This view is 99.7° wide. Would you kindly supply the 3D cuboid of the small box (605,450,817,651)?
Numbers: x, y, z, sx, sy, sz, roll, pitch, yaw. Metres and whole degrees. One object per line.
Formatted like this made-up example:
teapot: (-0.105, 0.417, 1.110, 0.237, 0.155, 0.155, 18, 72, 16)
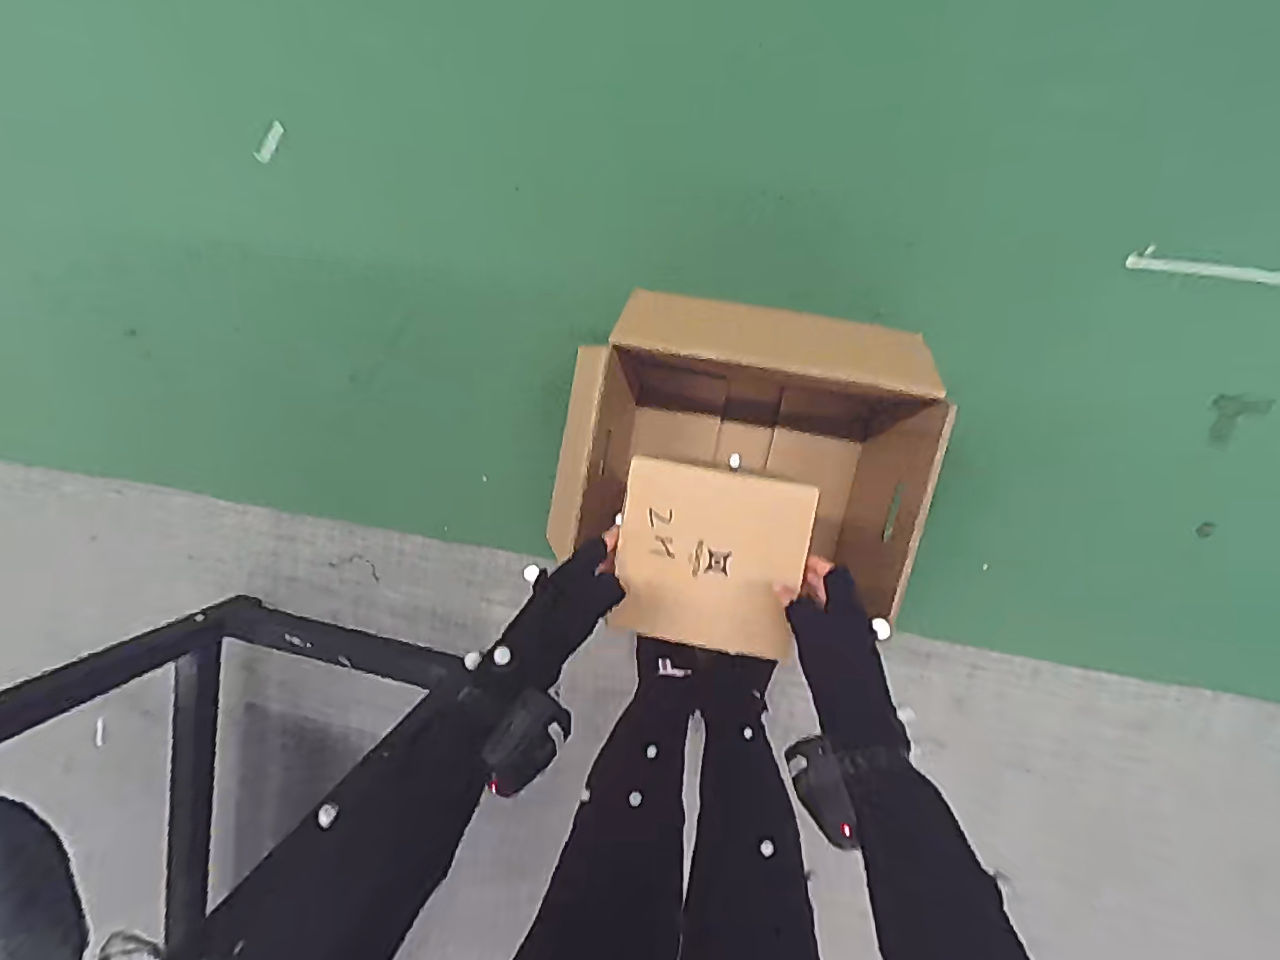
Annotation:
small box: (0.071, 0.061, 0.587, 0.179, 0.176, 0.168, 10, 96, 4)
